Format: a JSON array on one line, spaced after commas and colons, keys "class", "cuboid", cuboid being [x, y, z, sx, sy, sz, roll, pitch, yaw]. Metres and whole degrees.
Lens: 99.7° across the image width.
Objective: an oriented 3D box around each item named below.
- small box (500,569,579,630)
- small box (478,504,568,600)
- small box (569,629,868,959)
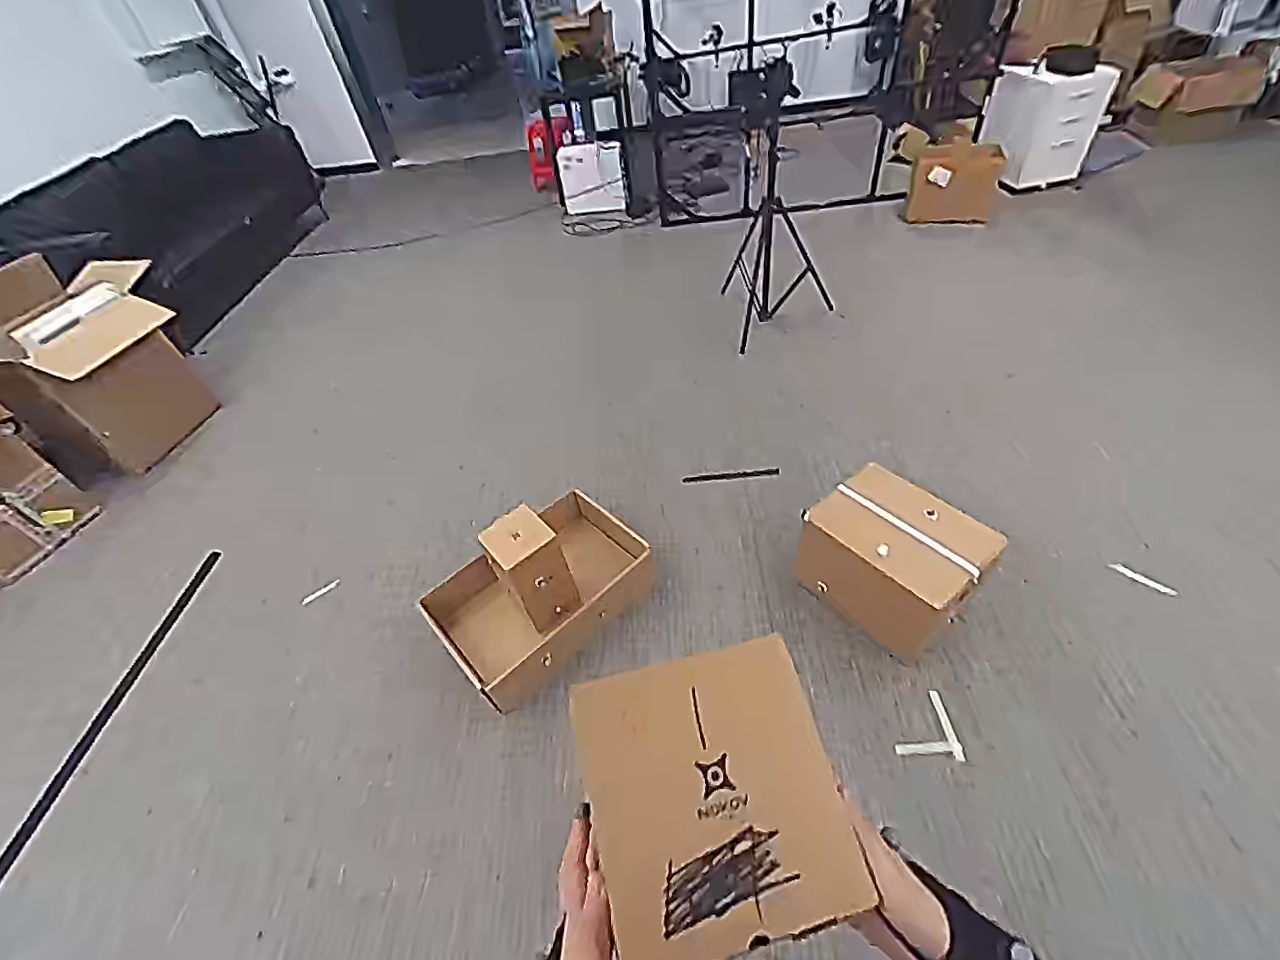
[{"class": "small box", "cuboid": [-0.310, 0.322, 1.656, 0.168, 0.176, 0.179, -35, 50, -22]}, {"class": "small box", "cuboid": [-0.330, 0.209, 1.542, 0.168, 0.176, 0.179, -36, 52, -23]}, {"class": "small box", "cuboid": [0.040, 0.239, 0.434, 0.168, 0.176, 0.179, -10, 64, -13]}]
